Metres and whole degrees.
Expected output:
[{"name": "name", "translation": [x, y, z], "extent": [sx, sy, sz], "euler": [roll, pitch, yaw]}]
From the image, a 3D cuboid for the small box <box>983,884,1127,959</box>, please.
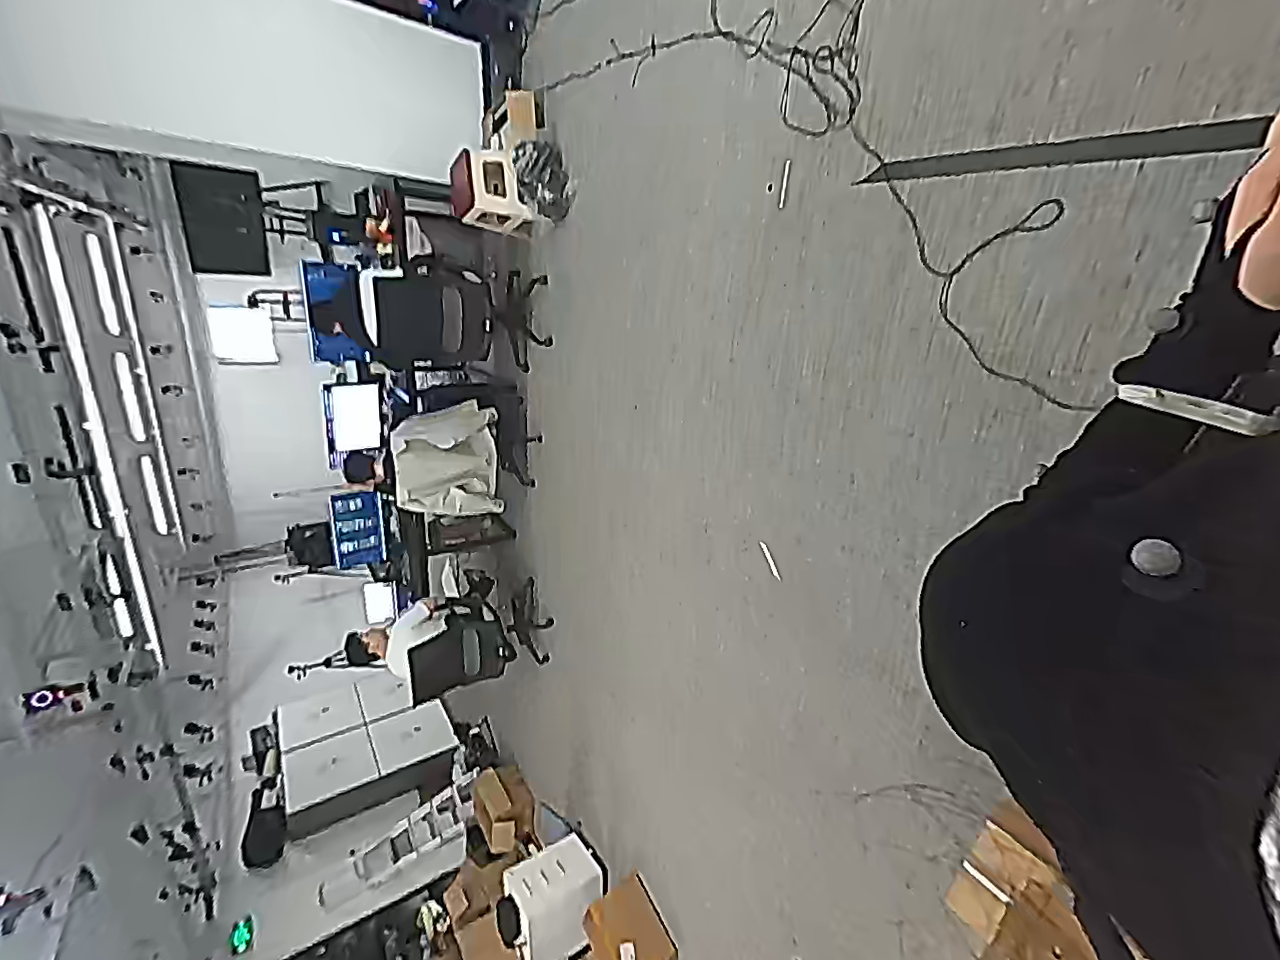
[{"name": "small box", "translation": [0.830, 0.979, 1.089], "extent": [0.179, 0.176, 0.168], "euler": [29, 120, 50]}]
